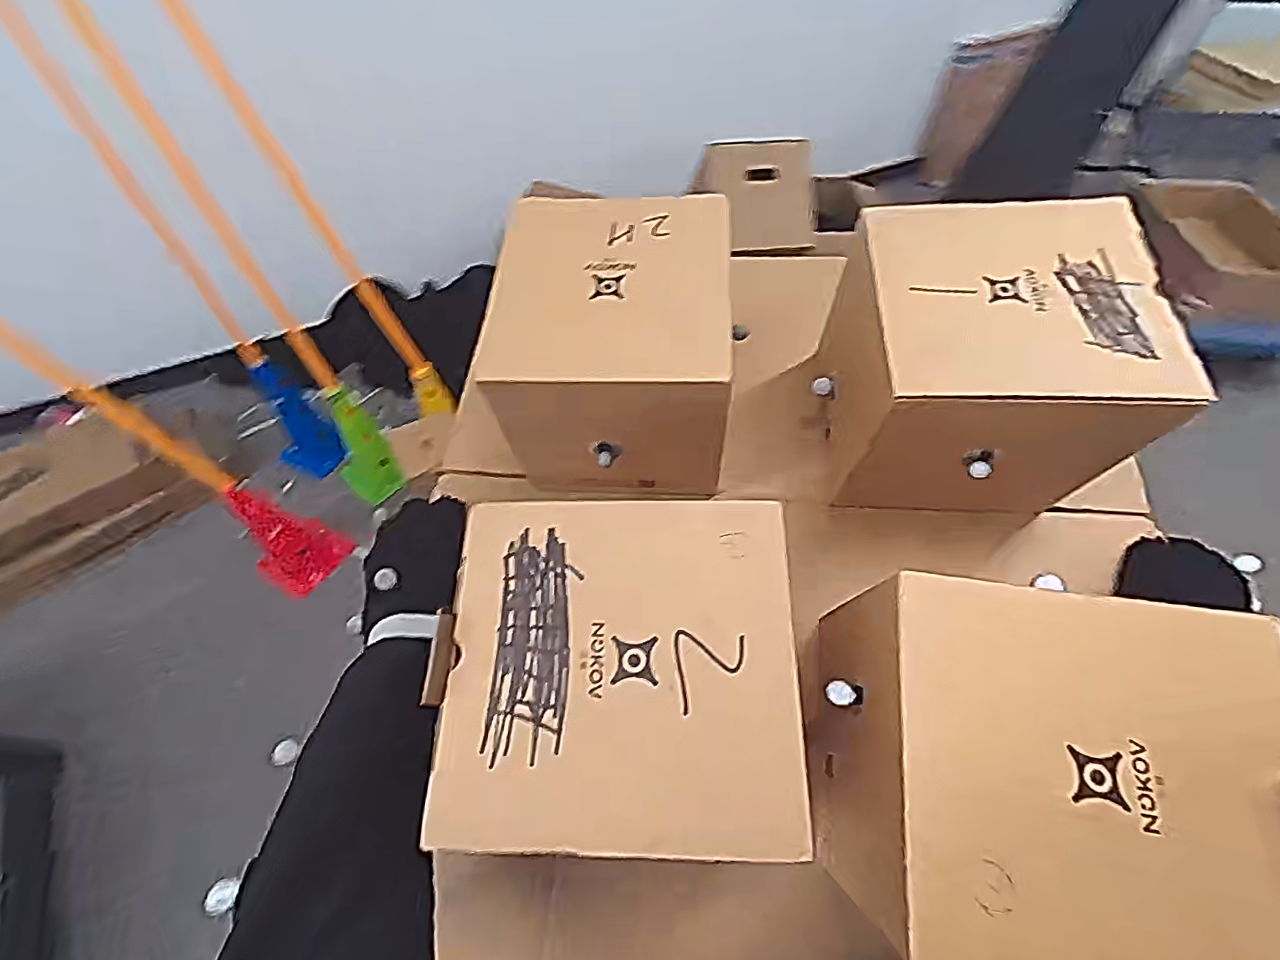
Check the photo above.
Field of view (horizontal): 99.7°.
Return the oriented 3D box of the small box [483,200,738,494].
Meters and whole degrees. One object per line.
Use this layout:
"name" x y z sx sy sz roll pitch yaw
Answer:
"small box" -0.008 -0.099 0.448 0.168 0.176 0.179 3 64 6
